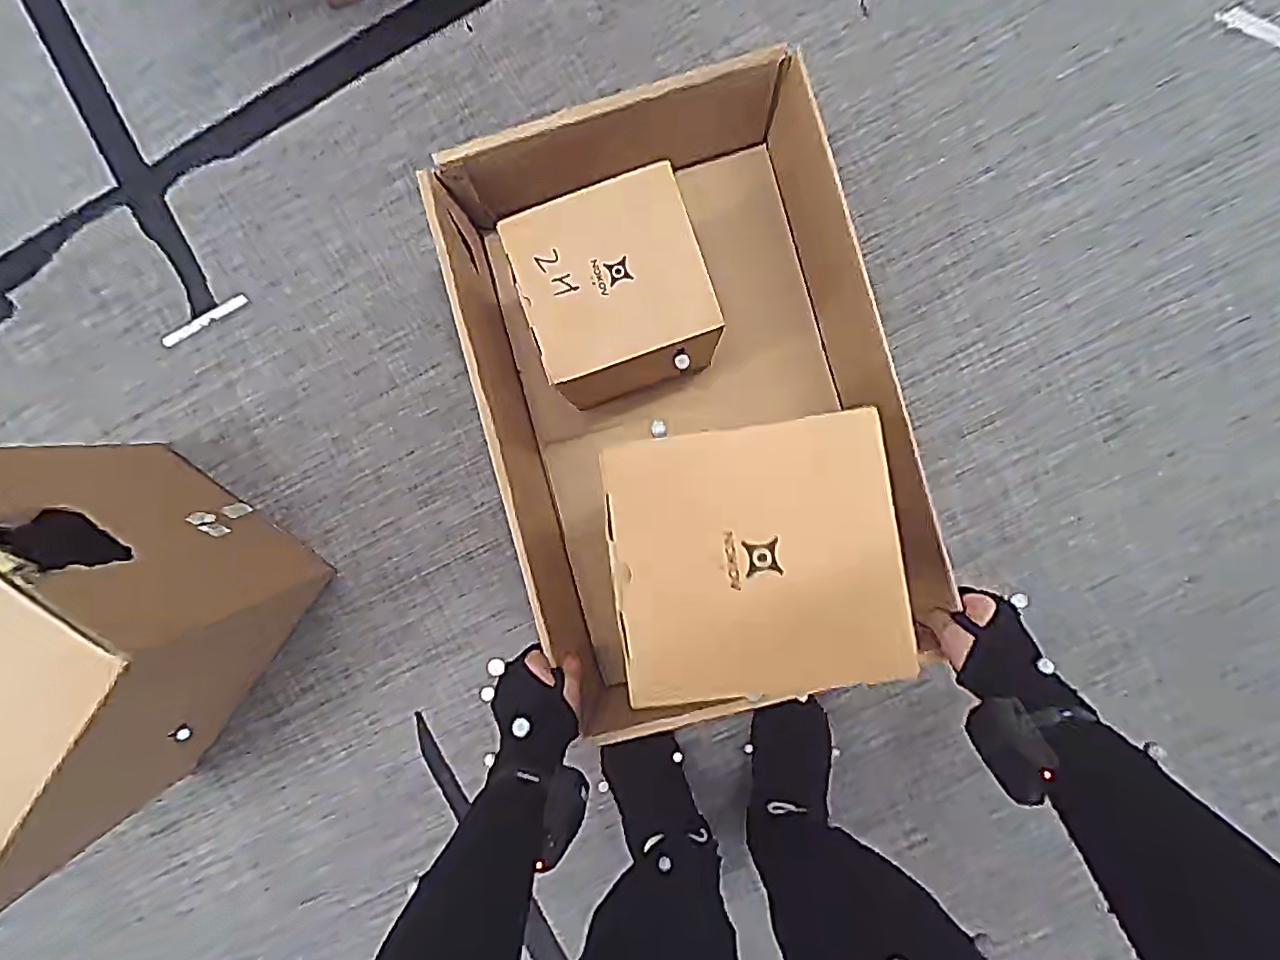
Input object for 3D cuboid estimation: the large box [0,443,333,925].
[{"bbox_3d":[-0.671,0.207,0.641,0.320,0.320,0.408,36,96,0],"label":"large box"}]
